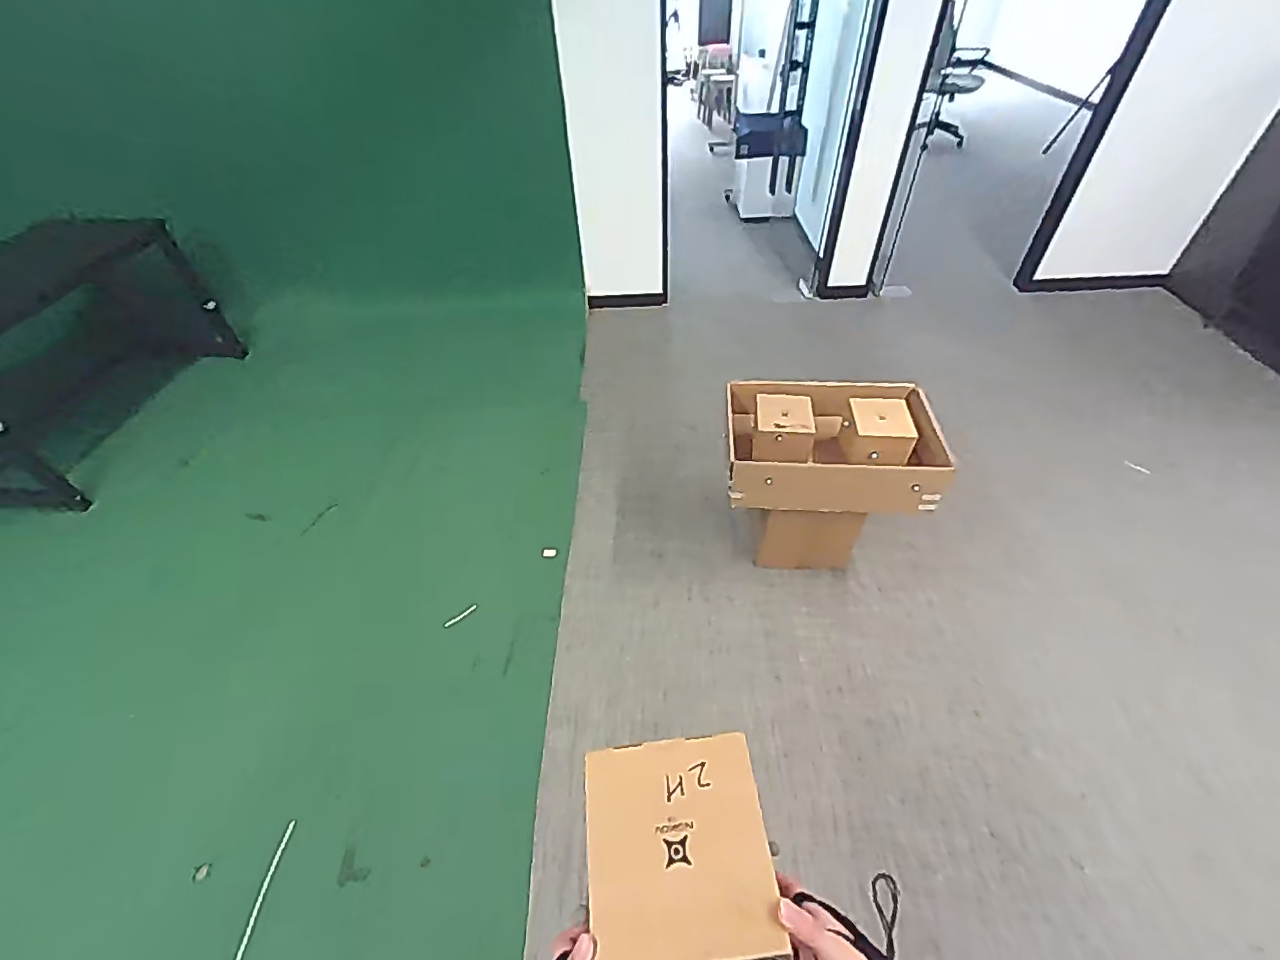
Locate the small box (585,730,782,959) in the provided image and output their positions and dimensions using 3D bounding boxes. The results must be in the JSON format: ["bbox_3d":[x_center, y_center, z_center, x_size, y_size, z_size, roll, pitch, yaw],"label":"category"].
[{"bbox_3d":[0.036,0.381,0.554,0.168,0.176,0.179,-6,47,-1],"label":"small box"}]

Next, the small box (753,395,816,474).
[{"bbox_3d":[0.442,-0.141,1.675,0.168,0.176,0.179,3,46,8],"label":"small box"}]

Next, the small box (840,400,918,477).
[{"bbox_3d":[0.719,-0.126,1.647,0.168,0.176,0.179,2,46,6],"label":"small box"}]
